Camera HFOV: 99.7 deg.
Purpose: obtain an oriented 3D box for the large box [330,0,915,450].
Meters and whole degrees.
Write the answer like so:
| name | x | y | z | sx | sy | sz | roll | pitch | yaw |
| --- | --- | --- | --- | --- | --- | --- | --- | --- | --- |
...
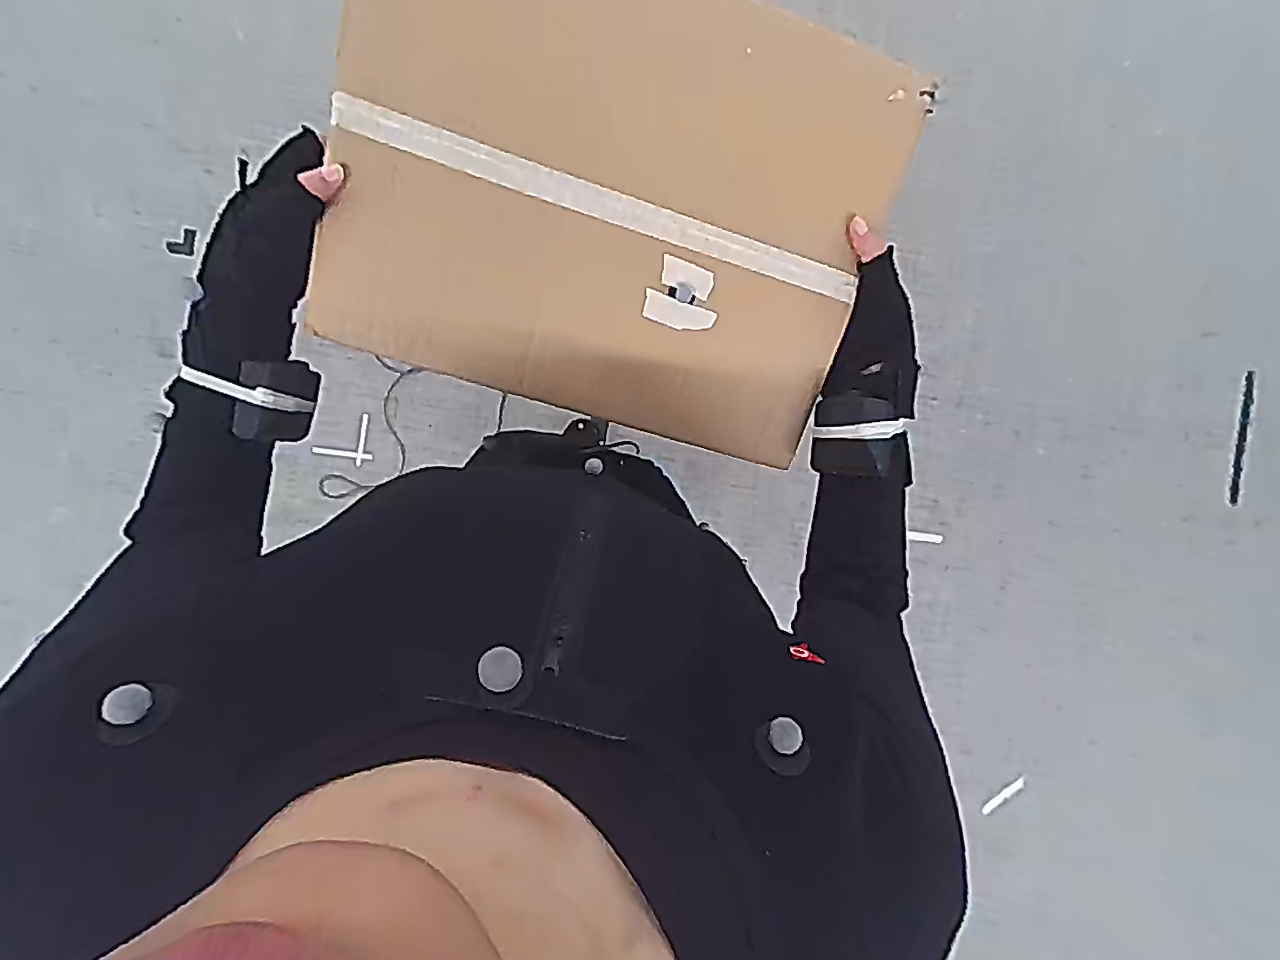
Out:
| name | x | y | z | sx | sy | sz | roll | pitch | yaw |
| --- | --- | --- | --- | --- | --- | --- | --- | --- | --- |
| large box | -0.033 | -0.254 | 0.560 | 0.408 | 0.320 | 0.320 | 14 | 106 | -11 |
